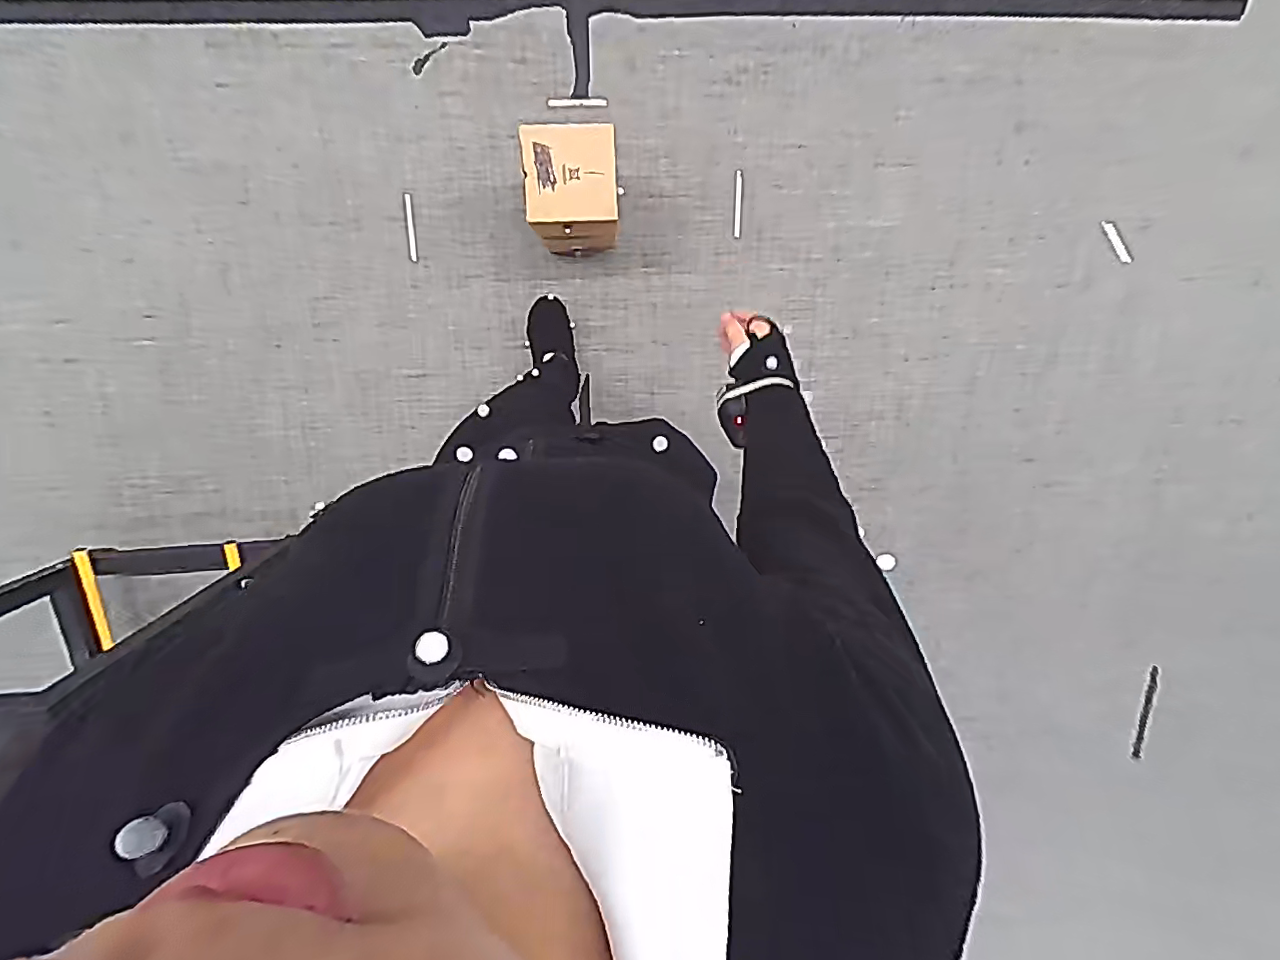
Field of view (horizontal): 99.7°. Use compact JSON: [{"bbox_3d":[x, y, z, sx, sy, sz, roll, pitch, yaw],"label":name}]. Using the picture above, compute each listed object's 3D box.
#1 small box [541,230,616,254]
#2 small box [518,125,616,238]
[{"bbox_3d":[-0.148,-0.629,1.240,0.168,0.176,0.179,-7,106,-1],"label":"small box"},{"bbox_3d":[-0.137,-0.587,1.080,0.179,0.176,0.168,-3,105,-3],"label":"small box"}]
